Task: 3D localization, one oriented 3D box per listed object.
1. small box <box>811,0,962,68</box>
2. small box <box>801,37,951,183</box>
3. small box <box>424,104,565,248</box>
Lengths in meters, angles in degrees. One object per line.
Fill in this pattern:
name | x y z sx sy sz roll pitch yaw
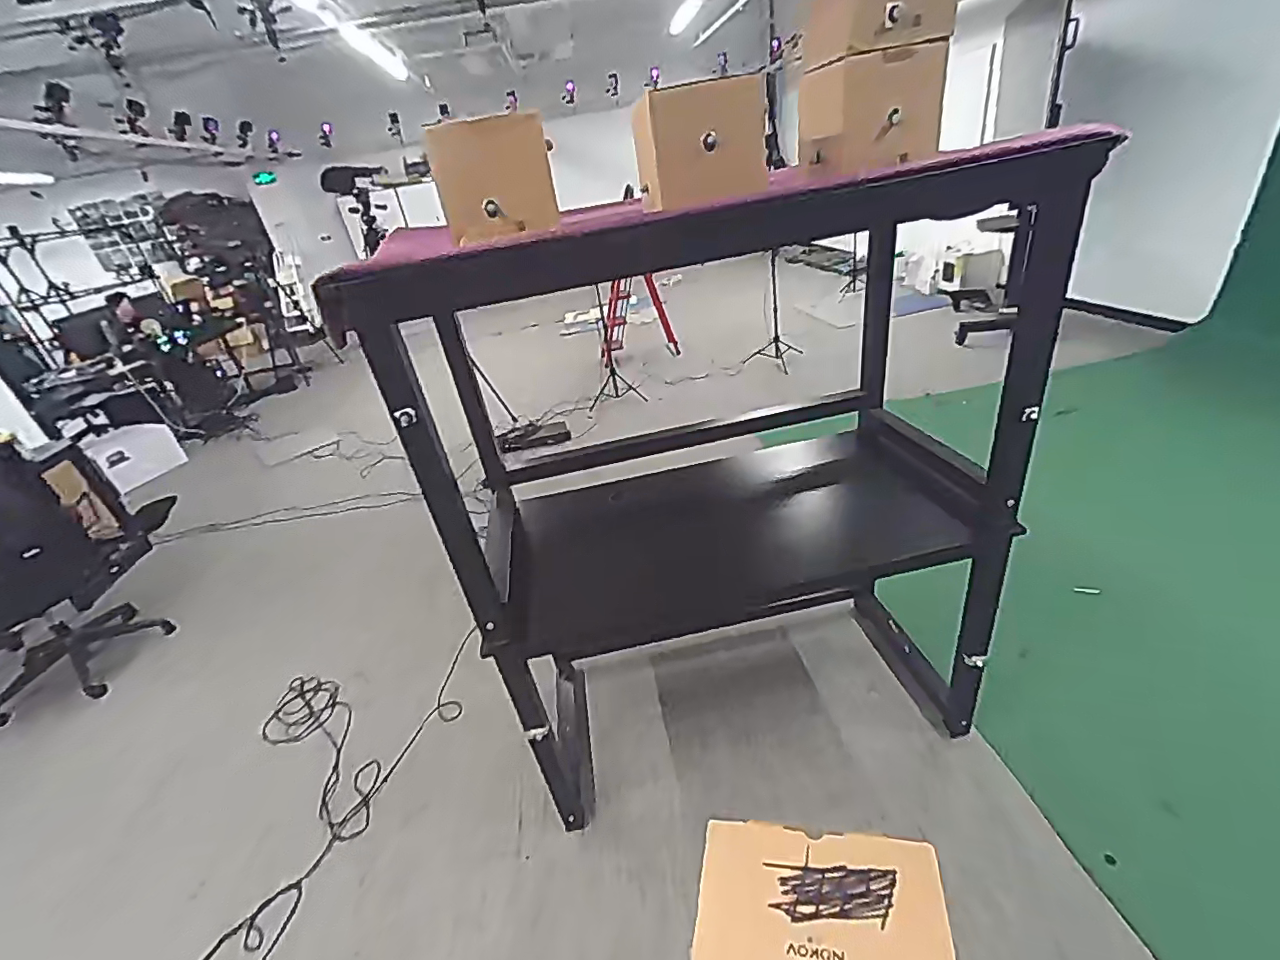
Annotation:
small box | 0.364 -0.743 0.818 0.168 0.176 0.179 -12 31 0
small box | 0.380 -0.602 0.899 0.168 0.176 0.179 -12 31 -3
small box | -0.219 -0.467 0.847 0.168 0.176 0.179 -13 29 -7
